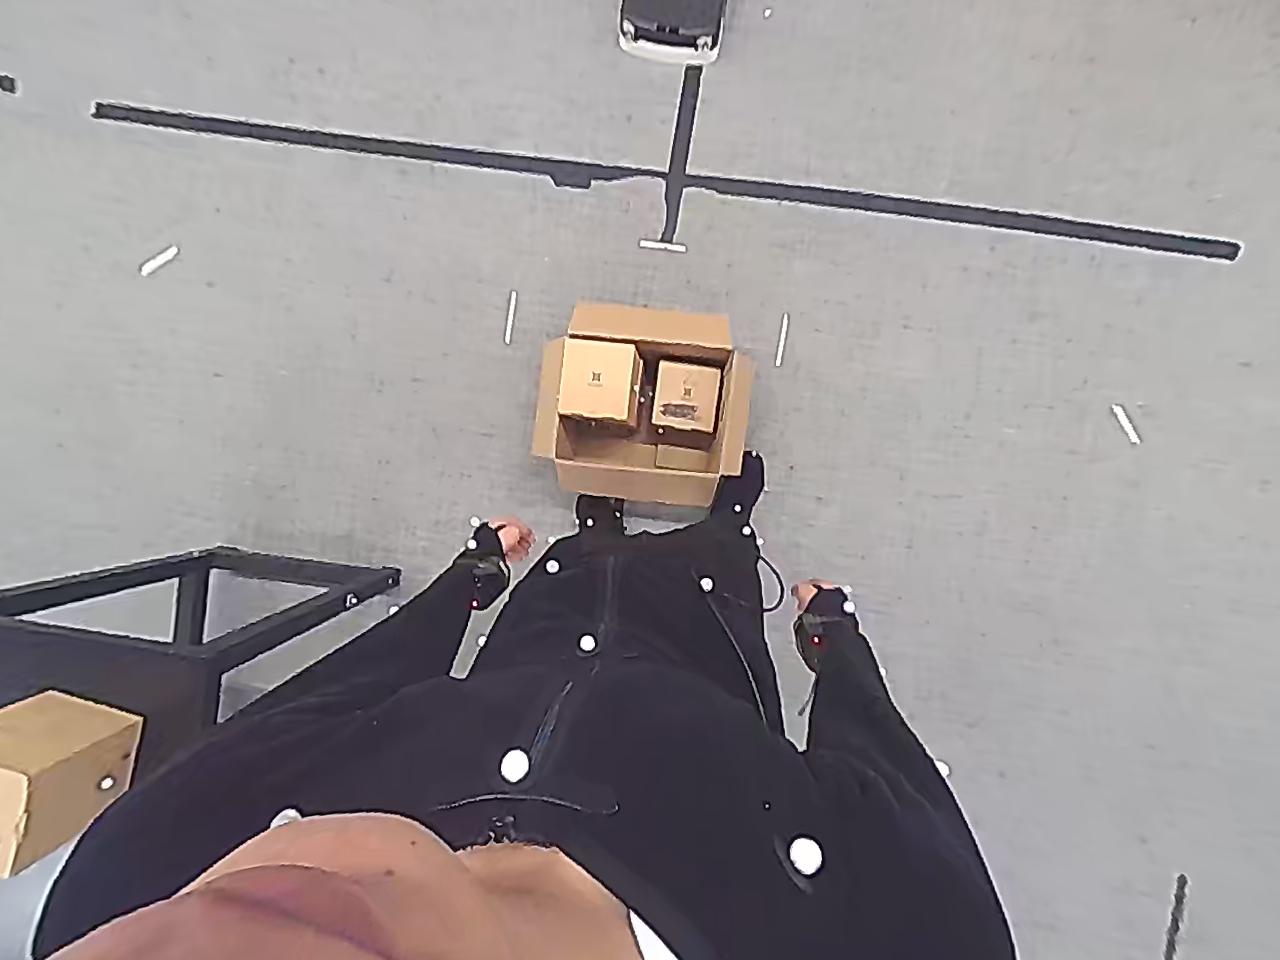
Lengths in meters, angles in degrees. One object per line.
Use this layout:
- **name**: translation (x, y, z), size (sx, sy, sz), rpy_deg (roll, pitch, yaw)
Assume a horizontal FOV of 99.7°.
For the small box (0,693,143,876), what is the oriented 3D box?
- **small box**: translation (-0.954, 0.461, 0.849), size (0.179, 0.176, 0.168), rpy_deg (16, 95, 2)
